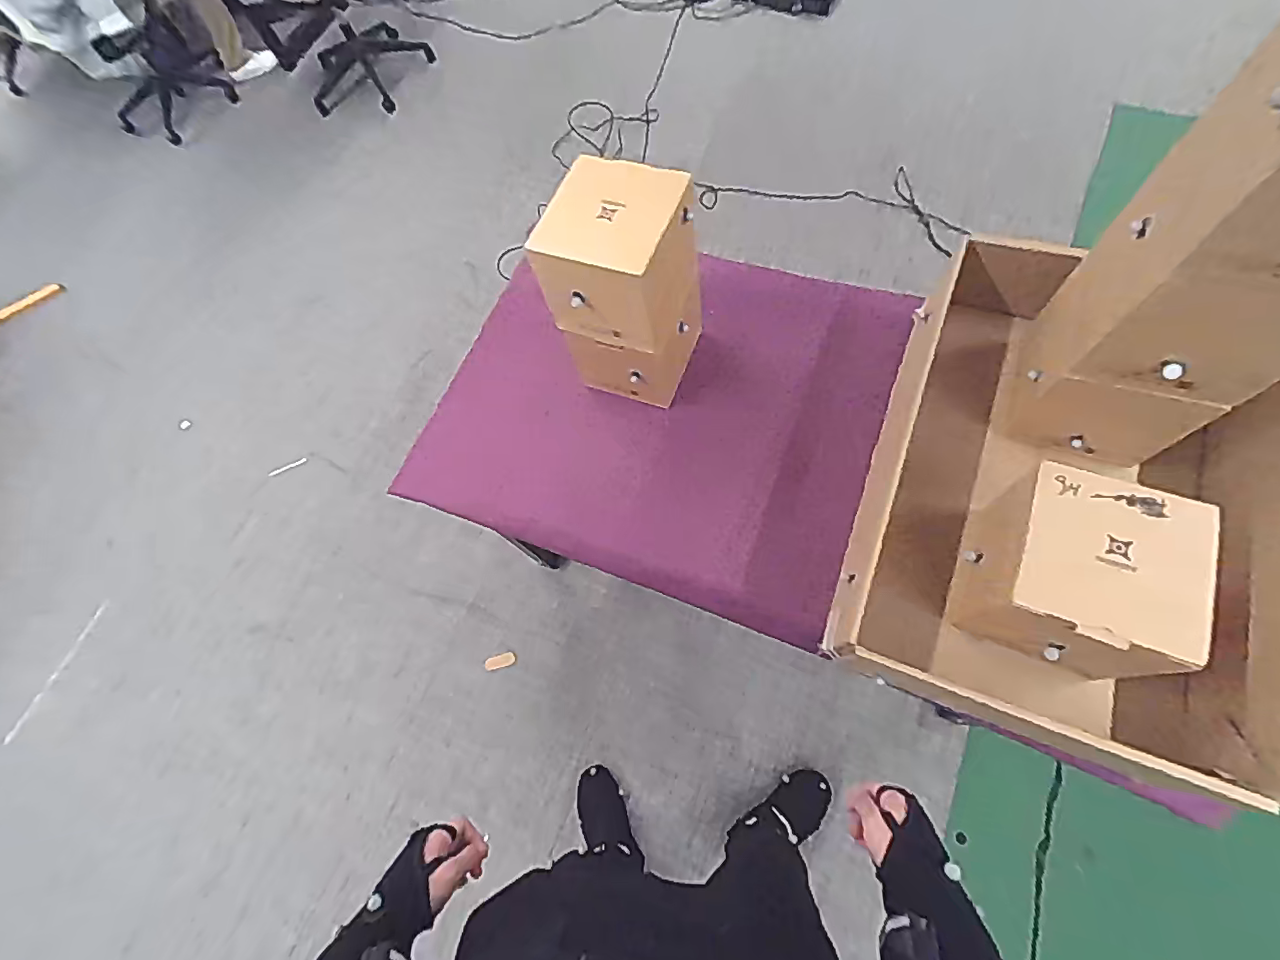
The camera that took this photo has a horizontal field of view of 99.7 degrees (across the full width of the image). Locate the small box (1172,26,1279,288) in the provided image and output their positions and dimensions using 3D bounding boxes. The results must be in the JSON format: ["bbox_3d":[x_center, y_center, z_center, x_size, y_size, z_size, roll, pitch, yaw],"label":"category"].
[{"bbox_3d":[0.560,-0.259,0.408,0.168,0.176,0.179,18,73,16],"label":"small box"}]

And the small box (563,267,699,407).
[{"bbox_3d":[-0.003,-0.249,0.911,0.168,0.176,0.179,19,72,15],"label":"small box"}]

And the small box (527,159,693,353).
[{"bbox_3d":[-0.028,-0.307,0.761,0.168,0.176,0.179,19,71,15],"label":"small box"}]

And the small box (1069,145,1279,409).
[{"bbox_3d":[0.587,-0.202,0.561,0.168,0.176,0.179,17,73,17],"label":"small box"}]
